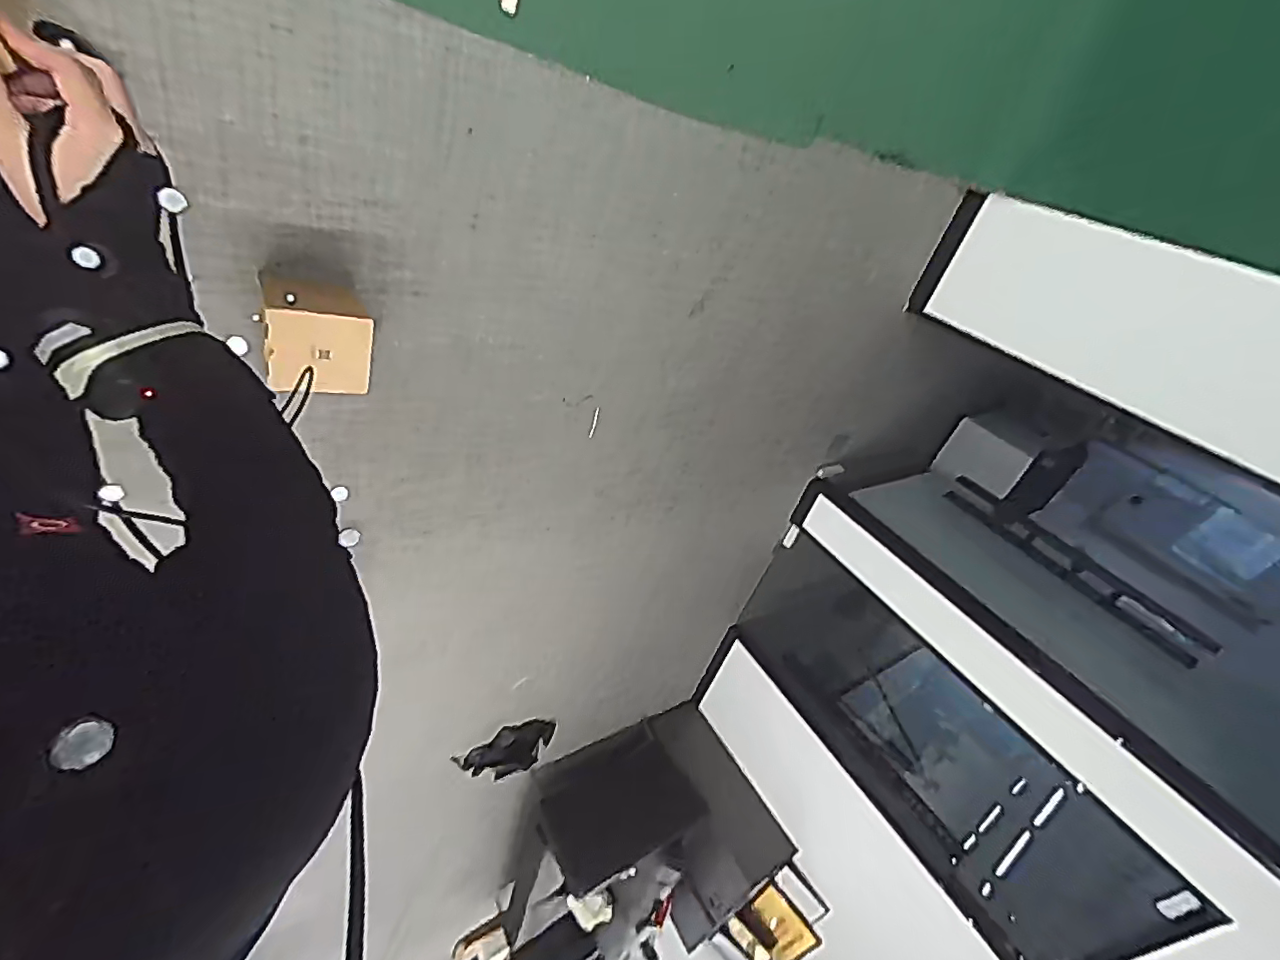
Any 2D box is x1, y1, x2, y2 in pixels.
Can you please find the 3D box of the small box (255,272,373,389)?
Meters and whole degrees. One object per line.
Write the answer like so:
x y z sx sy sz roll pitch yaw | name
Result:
-0.652 -0.297 1.077 0.179 0.176 0.168 -4 130 -38 | small box
